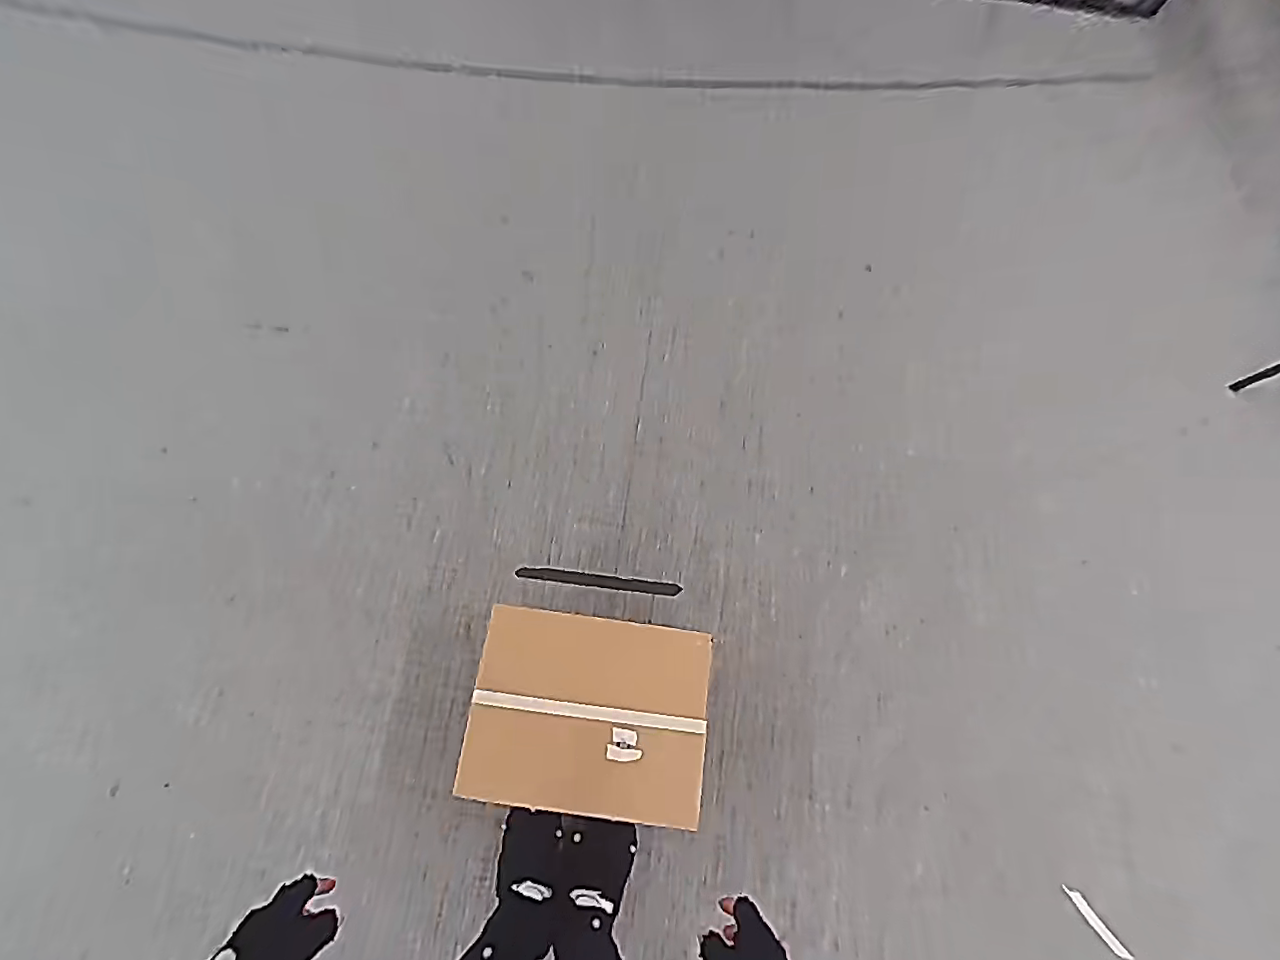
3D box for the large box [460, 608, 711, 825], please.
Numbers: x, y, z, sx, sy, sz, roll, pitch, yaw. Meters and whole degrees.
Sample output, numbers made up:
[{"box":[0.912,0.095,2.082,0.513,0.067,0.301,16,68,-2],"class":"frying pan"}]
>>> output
[{"box":[-0.094,0.453,1.078,0.408,0.320,0.320,8,71,-1],"class":"large box"}]
